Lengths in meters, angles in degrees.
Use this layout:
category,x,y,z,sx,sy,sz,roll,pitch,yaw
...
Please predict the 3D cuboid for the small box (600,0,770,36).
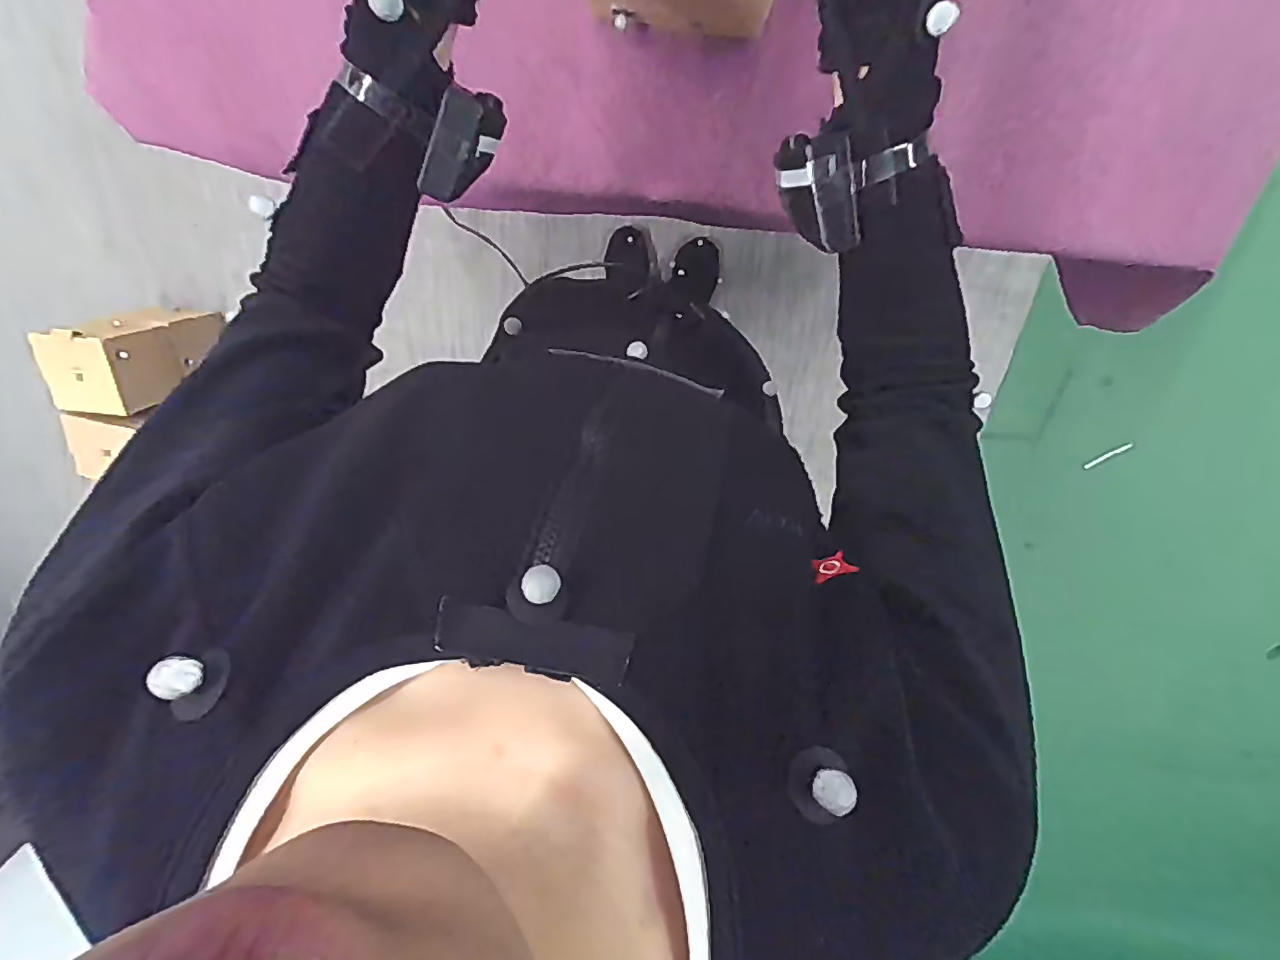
category,x,y,z,sx,sy,sz,roll,pitch,yaw
small box,0.042,-0.489,0.427,0.168,0.176,0.179,9,115,0
